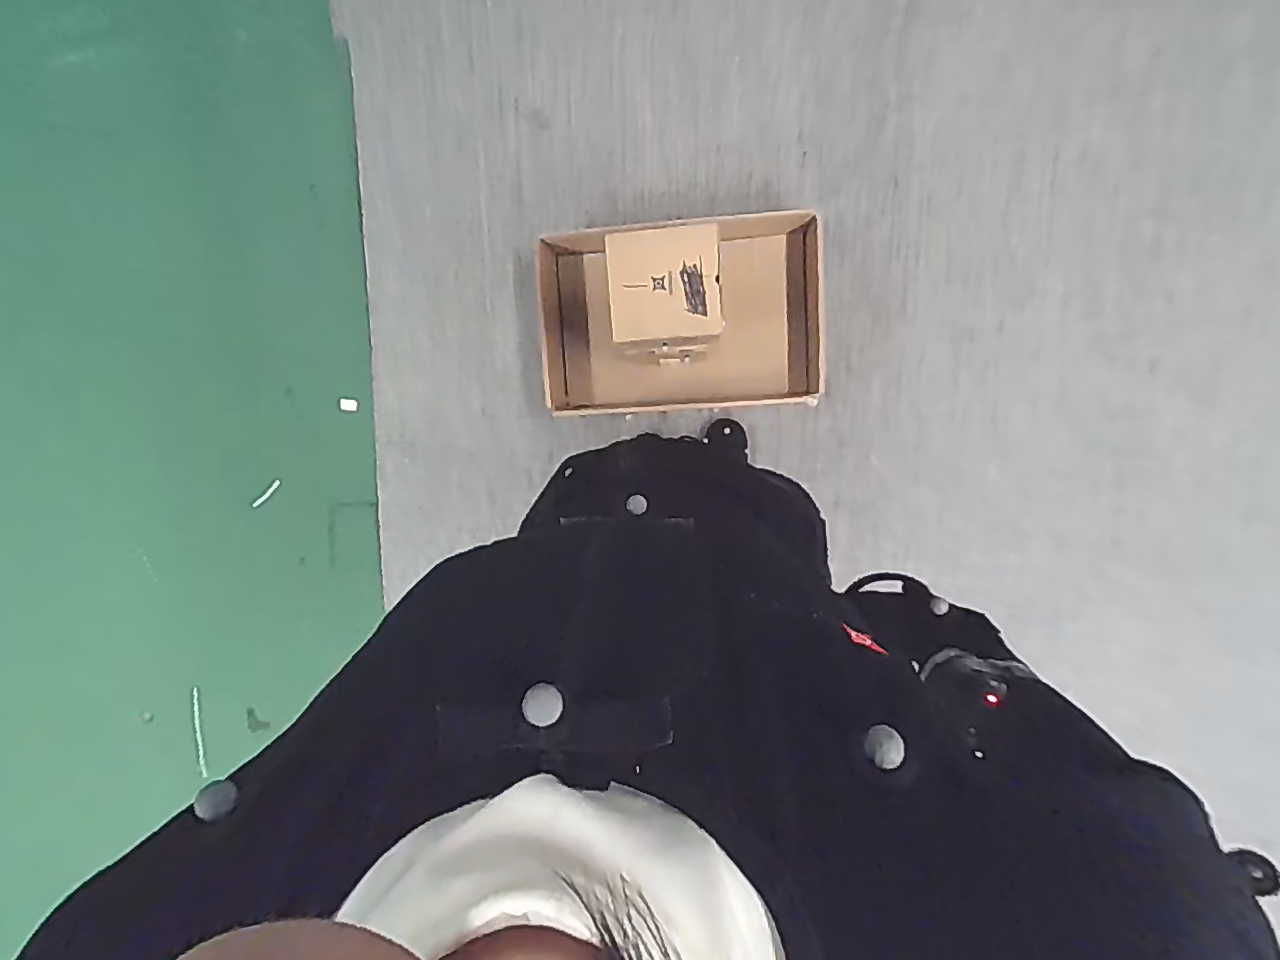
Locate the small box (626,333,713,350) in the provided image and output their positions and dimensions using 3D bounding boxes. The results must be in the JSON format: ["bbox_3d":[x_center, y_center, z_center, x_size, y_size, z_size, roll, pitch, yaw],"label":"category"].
[{"bbox_3d":[0.058,-0.352,1.066,0.168,0.176,0.179,-4,100,7],"label":"small box"}]

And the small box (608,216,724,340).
[{"bbox_3d":[0.049,-0.332,0.919,0.179,0.176,0.168,-2,99,7],"label":"small box"}]
